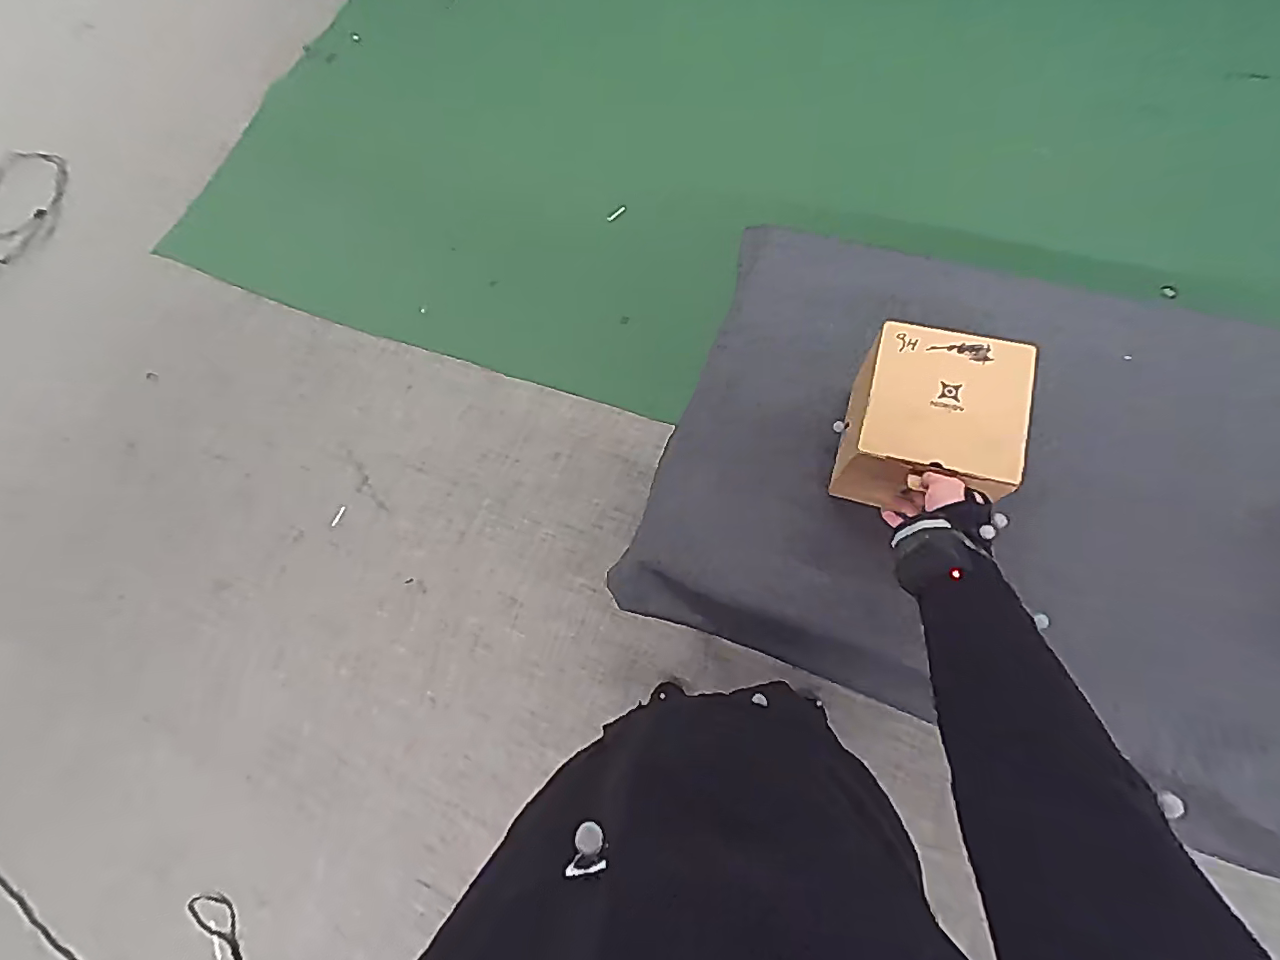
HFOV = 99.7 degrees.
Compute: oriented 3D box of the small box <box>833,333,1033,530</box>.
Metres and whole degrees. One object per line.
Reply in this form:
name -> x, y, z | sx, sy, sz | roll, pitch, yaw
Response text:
small box -> 0.352, -0.051, 0.681 | 0.168, 0.176, 0.179 | 15, 73, 13
